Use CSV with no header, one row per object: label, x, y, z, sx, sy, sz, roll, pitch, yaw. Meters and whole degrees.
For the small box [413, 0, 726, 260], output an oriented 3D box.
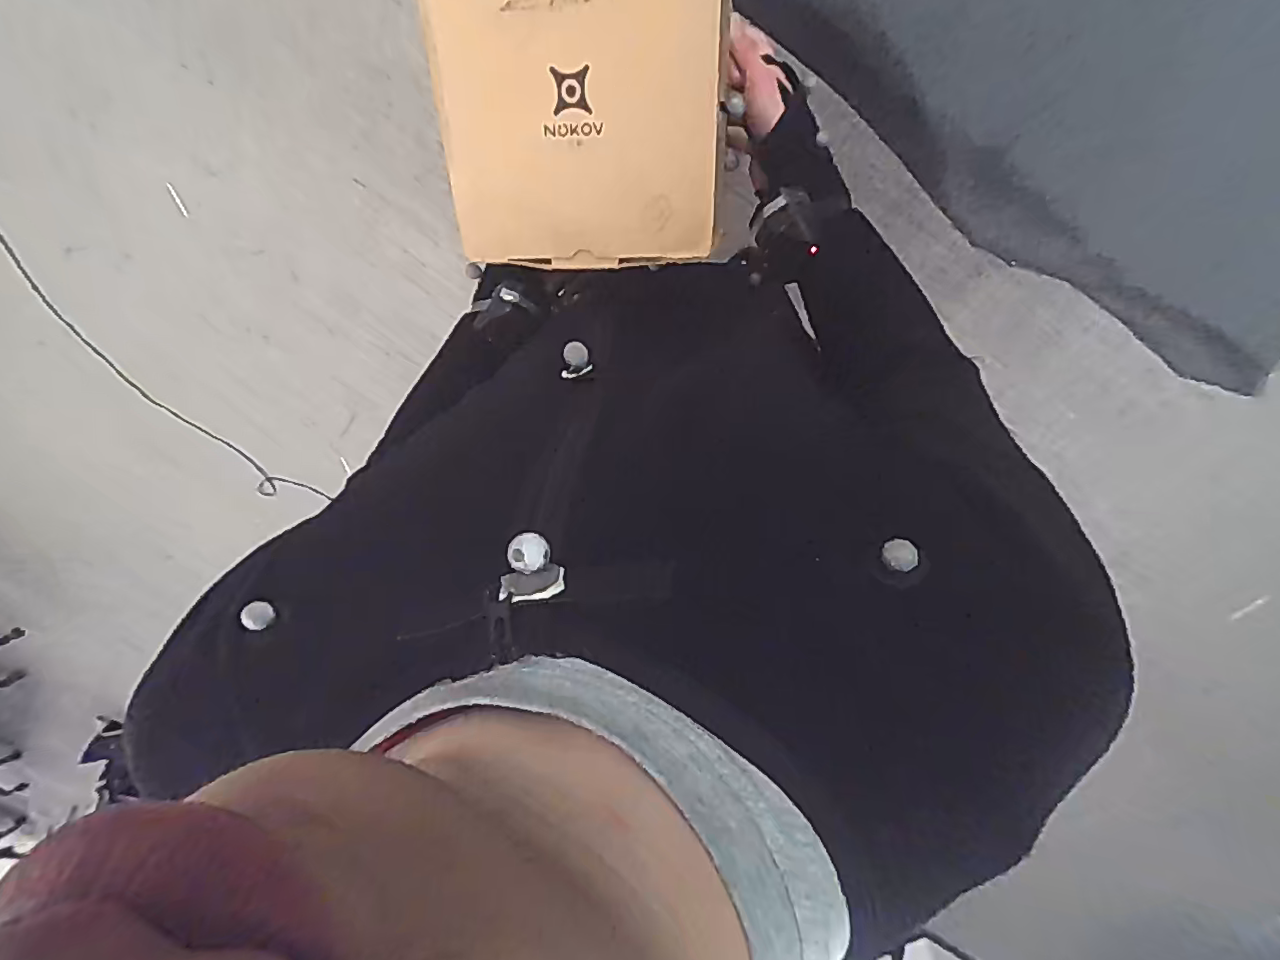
small box,-0.029,-0.257,0.372,0.168,0.176,0.179,2,119,8
